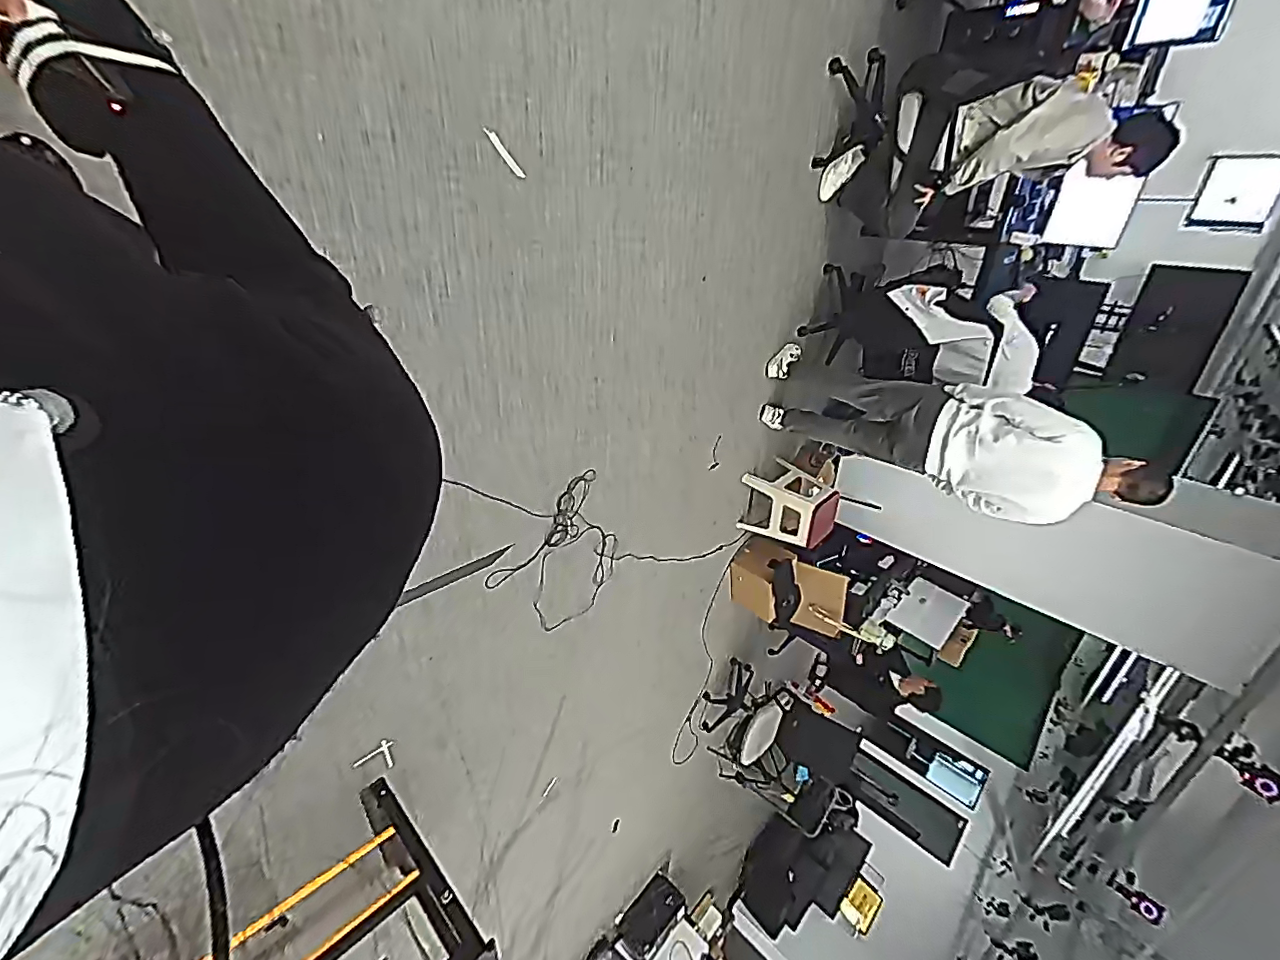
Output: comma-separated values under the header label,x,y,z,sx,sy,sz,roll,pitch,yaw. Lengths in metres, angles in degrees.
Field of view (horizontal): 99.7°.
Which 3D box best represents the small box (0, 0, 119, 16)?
label,x,y,z,sx,sy,sz,roll,pitch,yaw
small box,-0.640,-0.558,0.500,0.179,0.176,0.168,-25,129,-40
